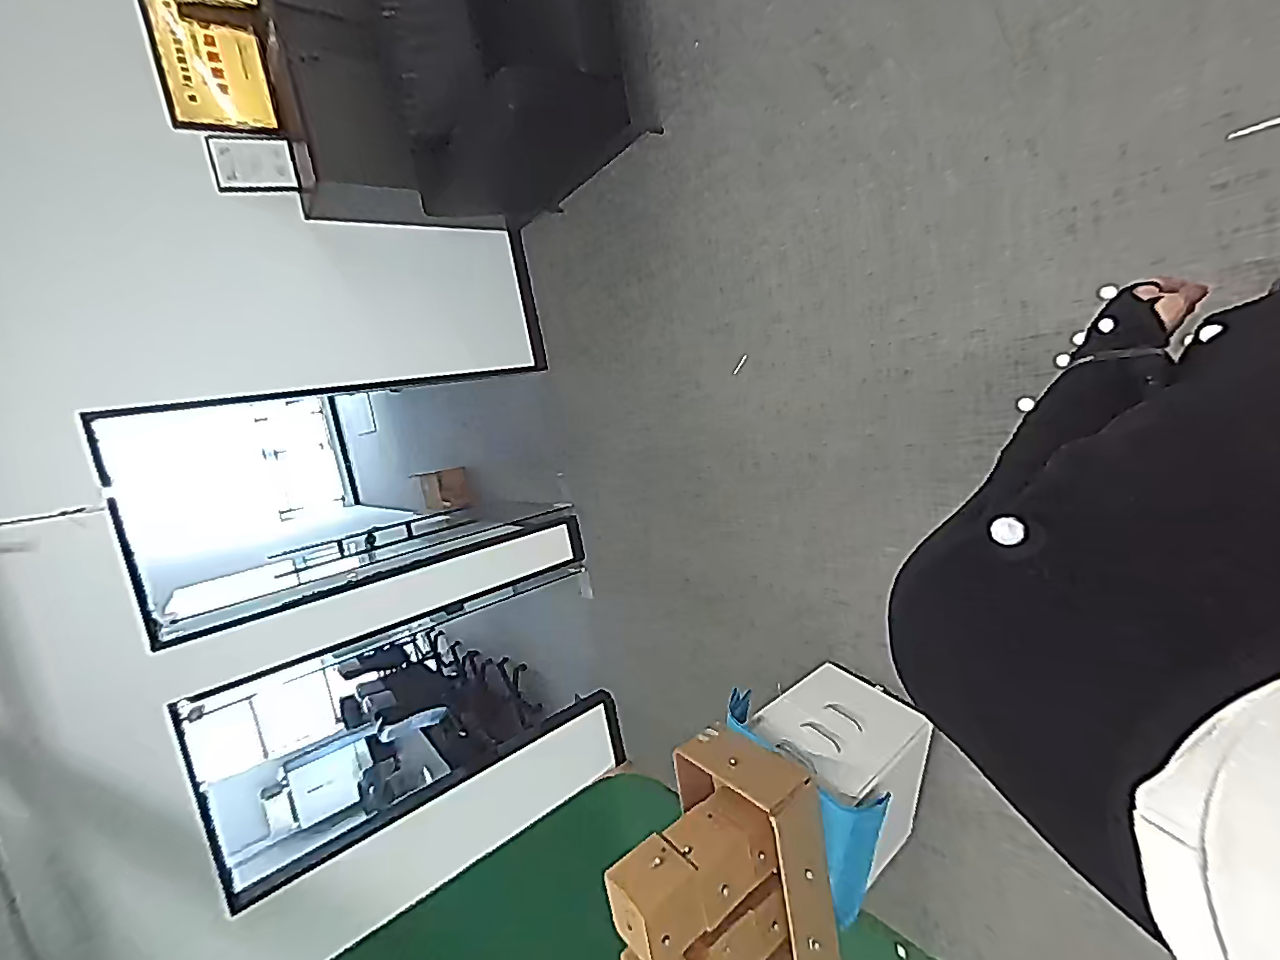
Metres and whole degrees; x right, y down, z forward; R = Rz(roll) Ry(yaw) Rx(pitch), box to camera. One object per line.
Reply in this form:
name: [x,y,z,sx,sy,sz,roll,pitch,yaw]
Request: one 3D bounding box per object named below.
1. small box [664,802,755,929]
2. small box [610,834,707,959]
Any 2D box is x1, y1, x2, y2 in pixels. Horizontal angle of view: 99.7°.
small box: [0.184,1.011,1.436,0.168,0.176,0.179,0,104,53]
small box: [0.050,1.042,1.345,0.168,0.176,0.179,3,105,53]
